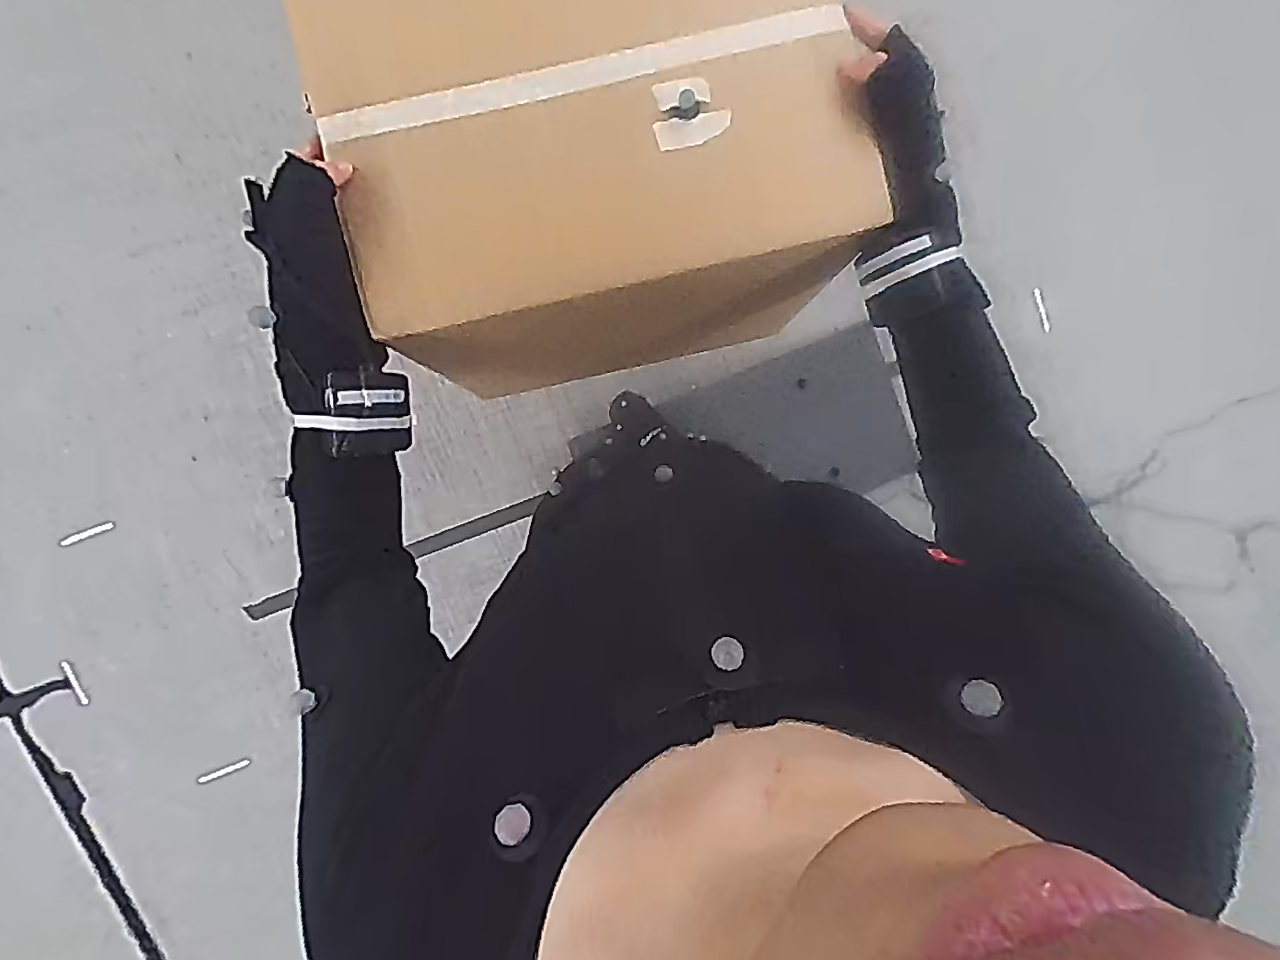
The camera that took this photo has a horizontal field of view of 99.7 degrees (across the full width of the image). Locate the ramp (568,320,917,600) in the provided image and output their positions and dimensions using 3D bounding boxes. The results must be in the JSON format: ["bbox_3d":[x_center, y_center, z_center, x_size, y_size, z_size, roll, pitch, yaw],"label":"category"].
[{"bbox_3d":[0.335,-0.082,1.581,0.991,0.206,0.509,-24,94,-2],"label":"ramp"}]

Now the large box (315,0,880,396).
[{"bbox_3d":[-0.039,-0.304,0.573,0.408,0.320,0.320,-13,90,-2],"label":"large box"}]
